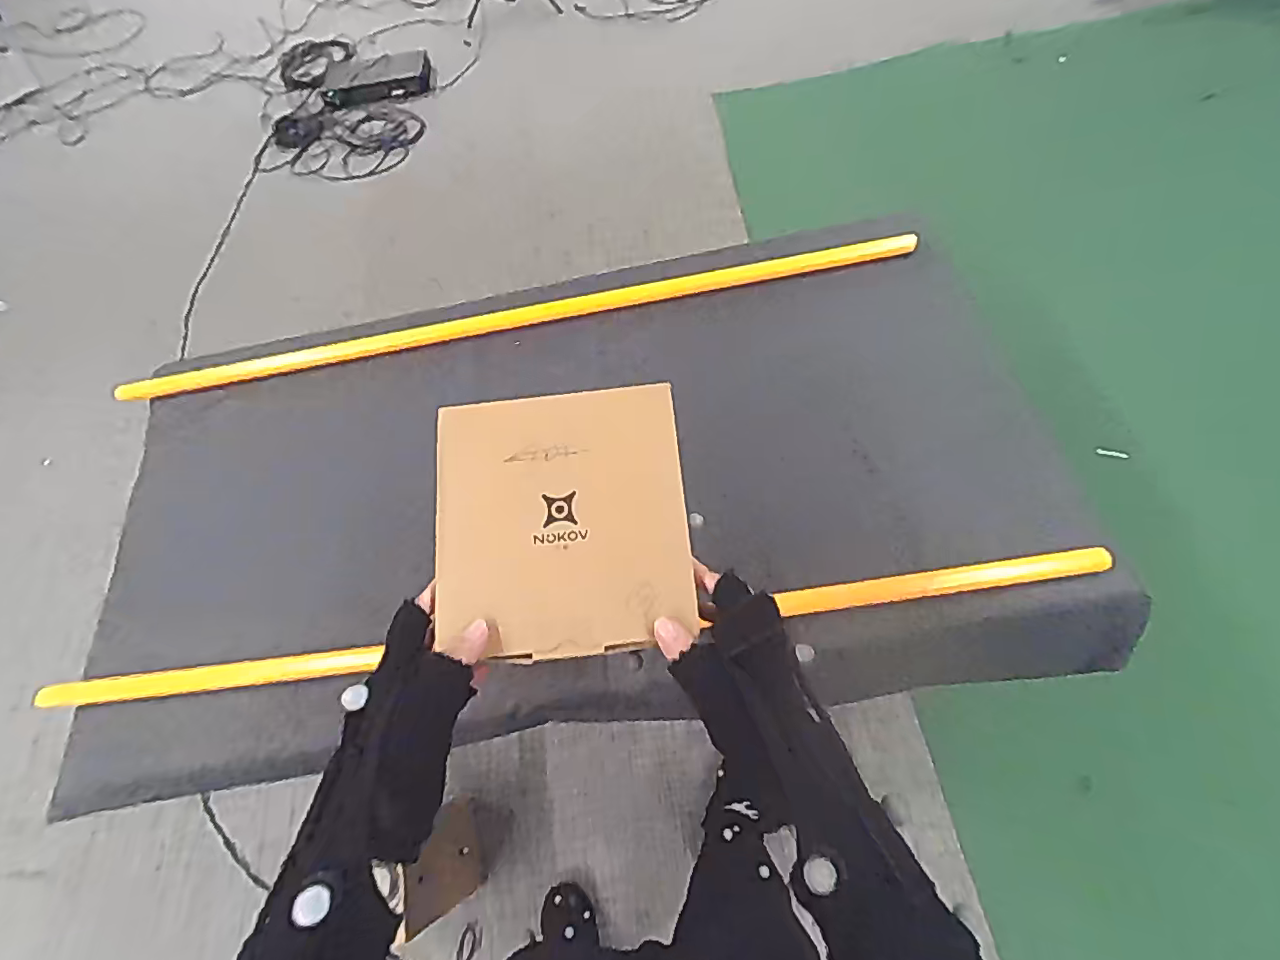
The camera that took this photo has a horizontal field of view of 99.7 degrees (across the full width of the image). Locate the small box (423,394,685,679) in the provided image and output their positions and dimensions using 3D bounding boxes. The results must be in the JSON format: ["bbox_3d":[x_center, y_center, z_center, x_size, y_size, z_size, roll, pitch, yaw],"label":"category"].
[{"bbox_3d":[-0.055,0.054,0.429,0.168,0.176,0.179,-7,71,0],"label":"small box"}]

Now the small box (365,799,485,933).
[{"bbox_3d":[-0.435,0.773,1.105,0.168,0.176,0.179,-18,65,-1],"label":"small box"}]
